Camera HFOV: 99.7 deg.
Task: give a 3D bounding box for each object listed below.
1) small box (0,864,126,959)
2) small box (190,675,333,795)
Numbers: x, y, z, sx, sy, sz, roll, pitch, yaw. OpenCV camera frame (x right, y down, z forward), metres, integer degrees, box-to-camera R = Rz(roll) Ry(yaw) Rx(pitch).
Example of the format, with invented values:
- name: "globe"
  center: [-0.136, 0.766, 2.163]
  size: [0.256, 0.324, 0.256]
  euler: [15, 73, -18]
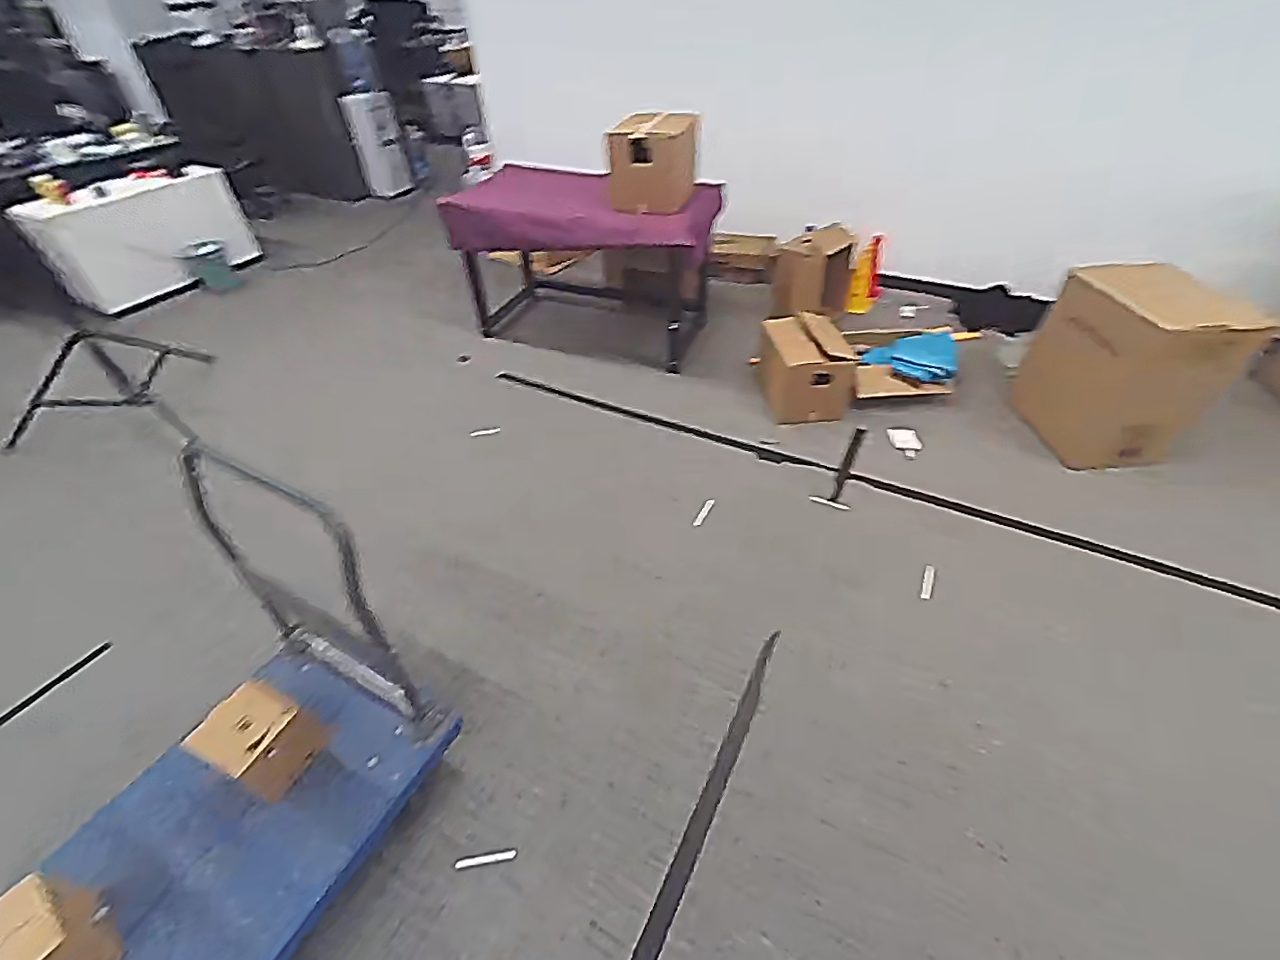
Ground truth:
- name: "small box"
  center: [-1.092, 0.846, 0.964]
  size: [0.168, 0.176, 0.179]
  euler: [28, 49, 27]
- name: "small box"
  center: [-0.858, 0.588, 1.241]
  size: [0.179, 0.176, 0.168]
  euler: [16, 46, 19]
